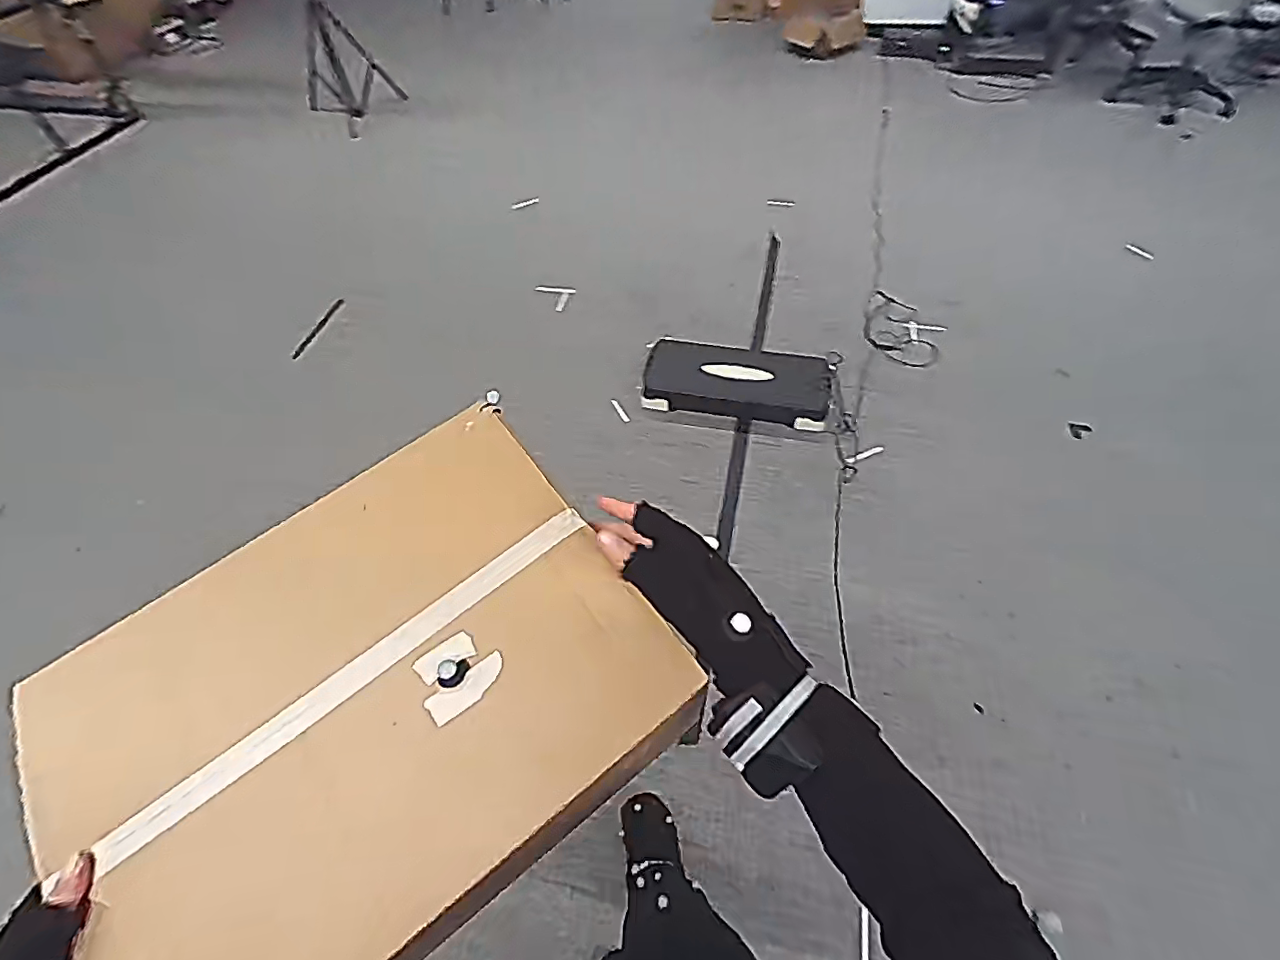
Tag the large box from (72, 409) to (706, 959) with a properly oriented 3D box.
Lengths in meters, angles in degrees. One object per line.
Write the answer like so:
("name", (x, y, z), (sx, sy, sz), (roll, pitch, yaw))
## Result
("large box", (-0.186, 0.215, 0.533), (0.408, 0.320, 0.320), (-34, 65, -14))
